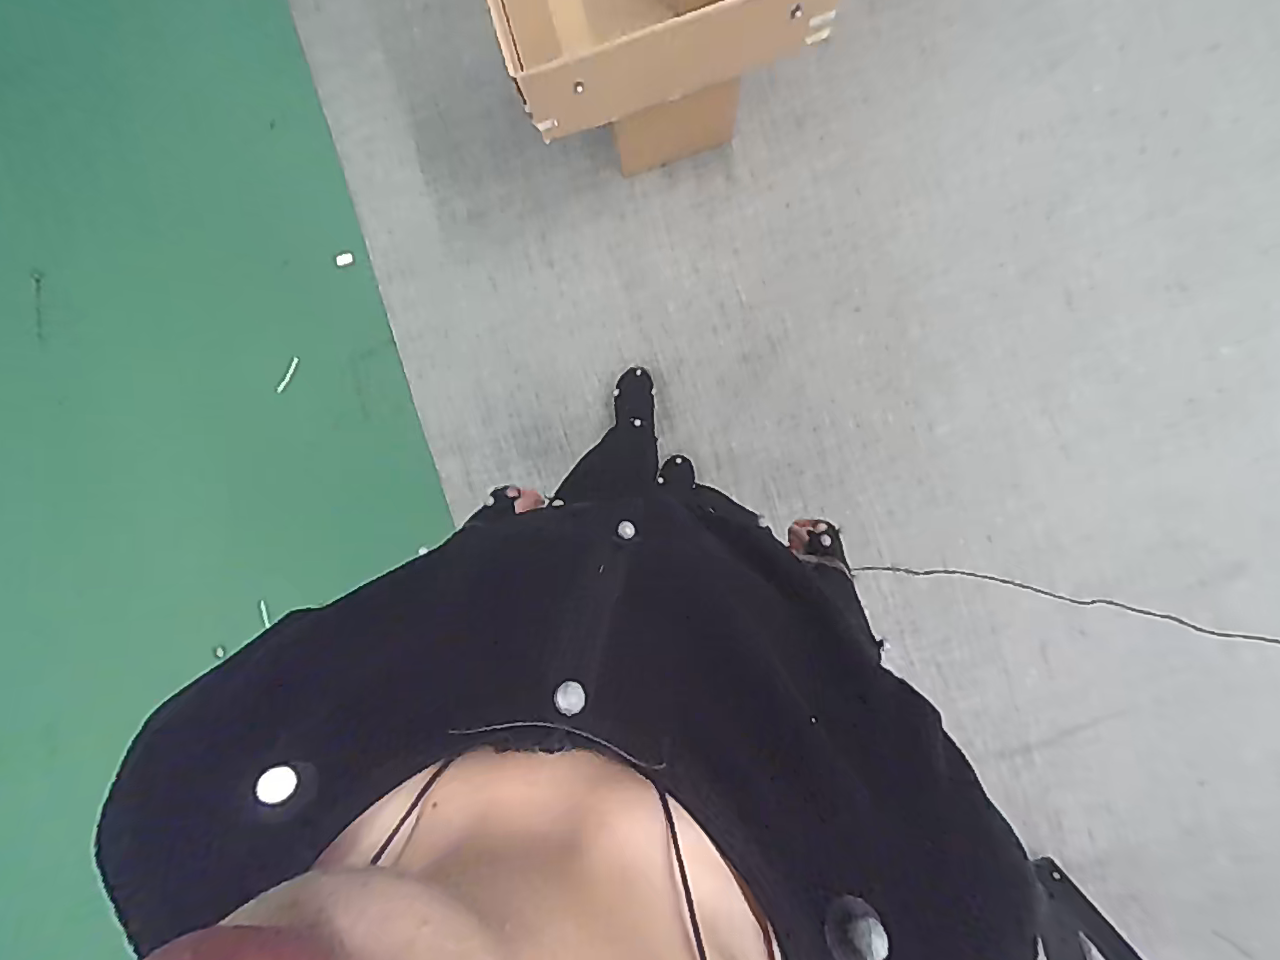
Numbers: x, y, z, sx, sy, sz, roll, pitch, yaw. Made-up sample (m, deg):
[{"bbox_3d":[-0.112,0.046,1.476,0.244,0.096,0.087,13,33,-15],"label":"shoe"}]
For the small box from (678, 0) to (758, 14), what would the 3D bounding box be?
[{"bbox_3d":[0.139,-0.974,0.950,0.168,0.176,0.179,-11,91,5],"label":"small box"}]
